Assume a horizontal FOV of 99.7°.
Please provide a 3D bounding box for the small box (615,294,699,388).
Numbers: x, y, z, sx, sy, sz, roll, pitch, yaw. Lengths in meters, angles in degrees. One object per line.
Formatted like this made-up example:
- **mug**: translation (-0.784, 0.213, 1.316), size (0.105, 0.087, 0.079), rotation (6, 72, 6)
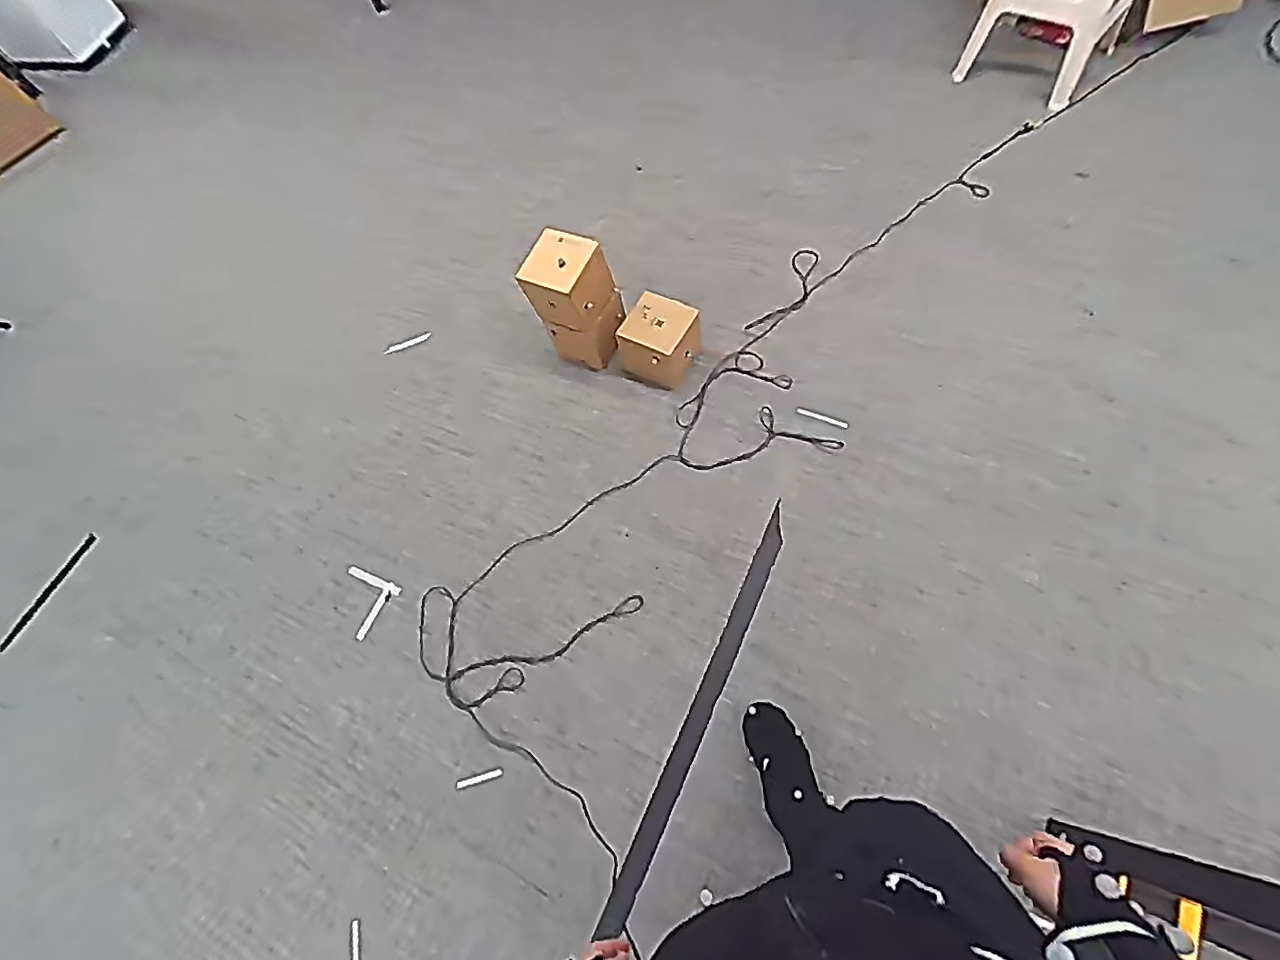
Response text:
- **small box**: translation (0.057, -0.387, 1.528), size (0.179, 0.176, 0.168), rotation (26, 72, 20)
